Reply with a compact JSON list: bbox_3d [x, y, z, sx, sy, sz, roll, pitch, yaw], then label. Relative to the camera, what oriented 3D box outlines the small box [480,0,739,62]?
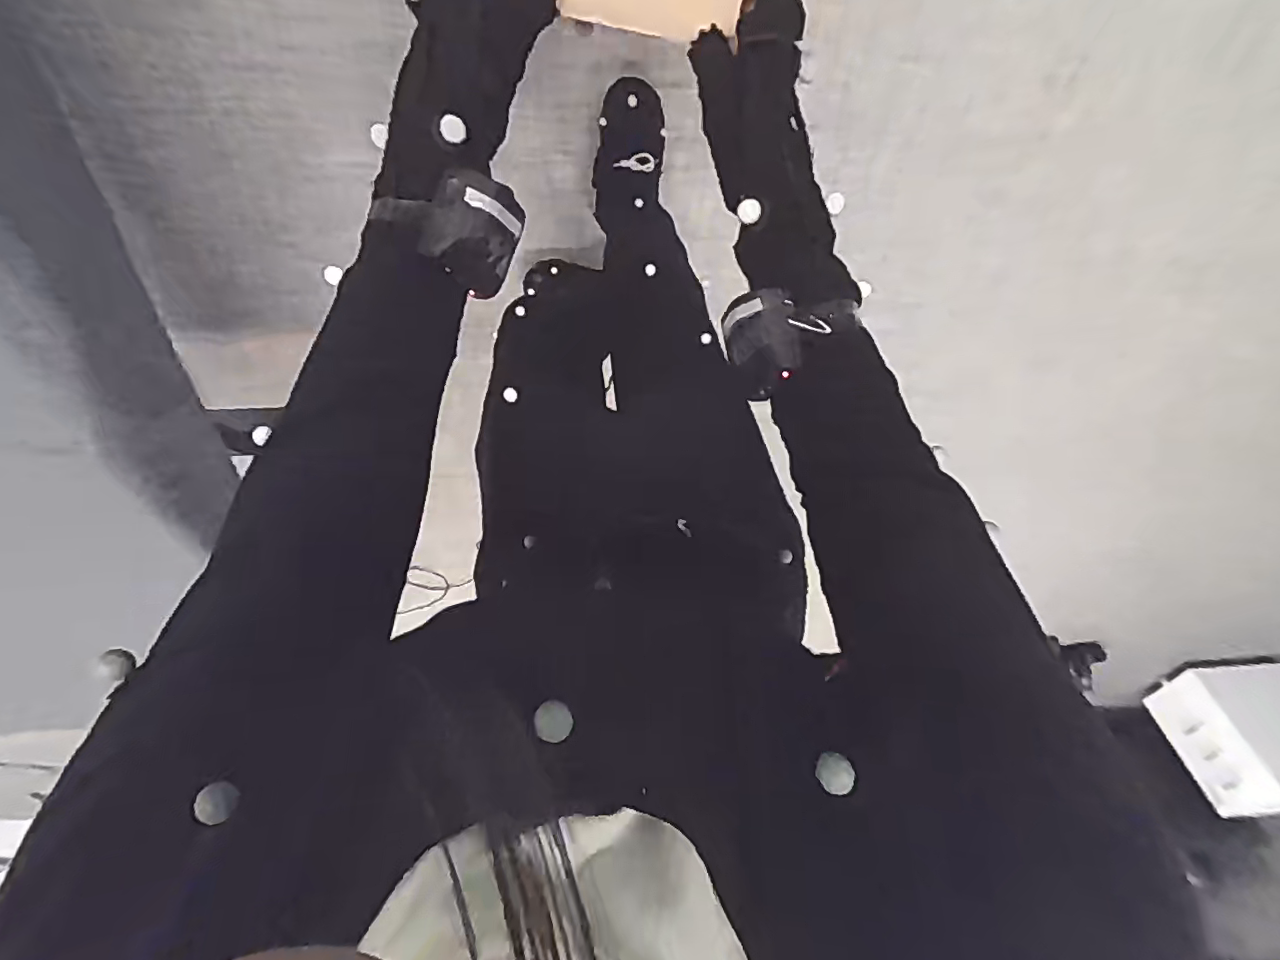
[{"bbox_3d":[-0.013,-0.419,0.380,0.179,0.176,0.168,6,132,-9],"label":"small box"}]
